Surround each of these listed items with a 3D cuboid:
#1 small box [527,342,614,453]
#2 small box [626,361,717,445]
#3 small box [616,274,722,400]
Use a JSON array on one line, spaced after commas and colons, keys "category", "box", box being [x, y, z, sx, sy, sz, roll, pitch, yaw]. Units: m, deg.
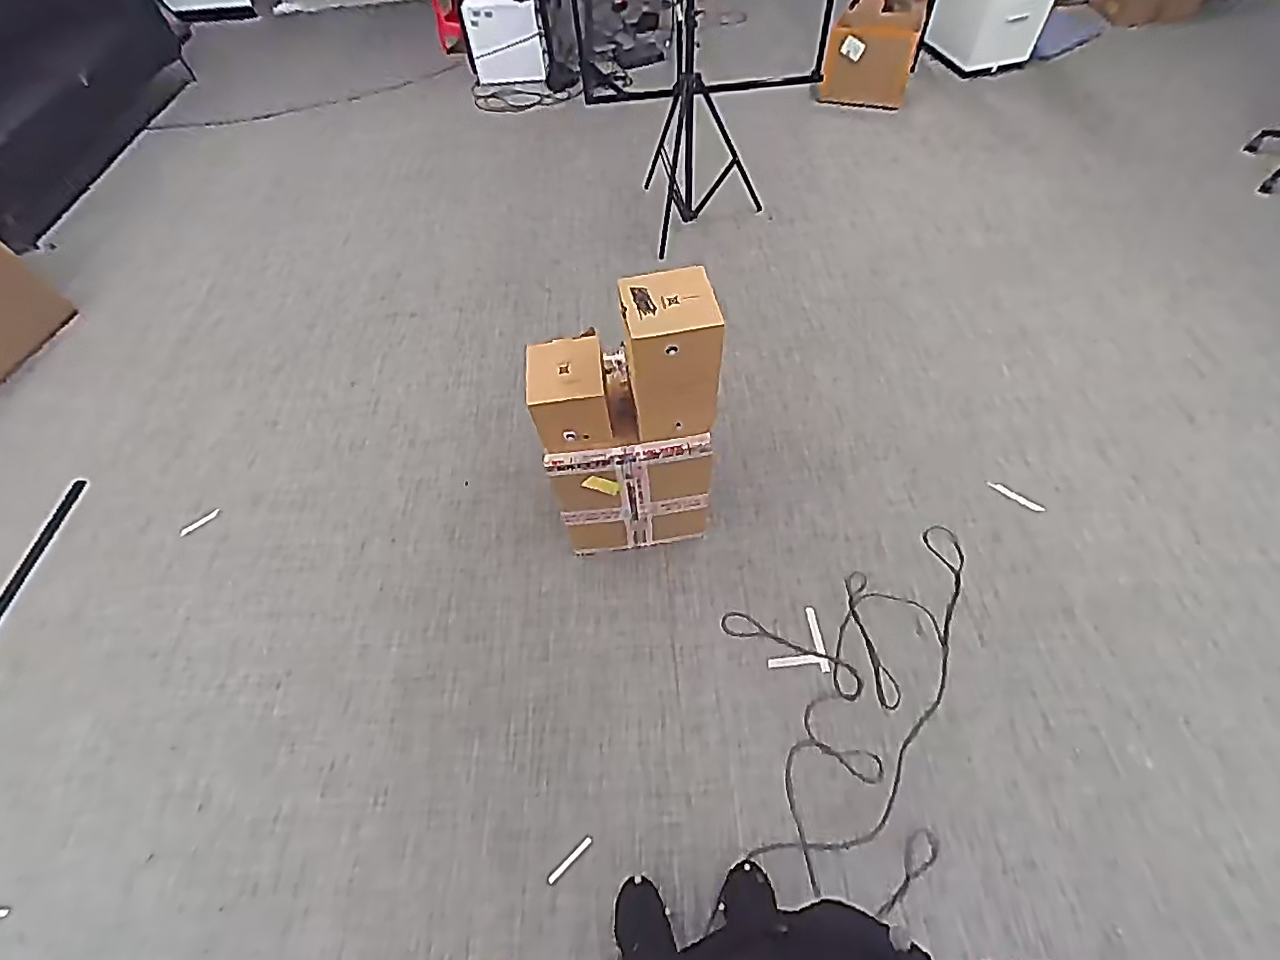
[{"category": "small box", "box": [-0.157, -0.186, 1.238, 0.168, 0.176, 0.179, -9, 60, 1]}, {"category": "small box", "box": [0.066, -0.200, 1.231, 0.179, 0.176, 0.168, -11, 60, -3]}, {"category": "small box", "box": [0.056, -0.280, 1.086, 0.179, 0.176, 0.168, -11, 60, -3]}]
